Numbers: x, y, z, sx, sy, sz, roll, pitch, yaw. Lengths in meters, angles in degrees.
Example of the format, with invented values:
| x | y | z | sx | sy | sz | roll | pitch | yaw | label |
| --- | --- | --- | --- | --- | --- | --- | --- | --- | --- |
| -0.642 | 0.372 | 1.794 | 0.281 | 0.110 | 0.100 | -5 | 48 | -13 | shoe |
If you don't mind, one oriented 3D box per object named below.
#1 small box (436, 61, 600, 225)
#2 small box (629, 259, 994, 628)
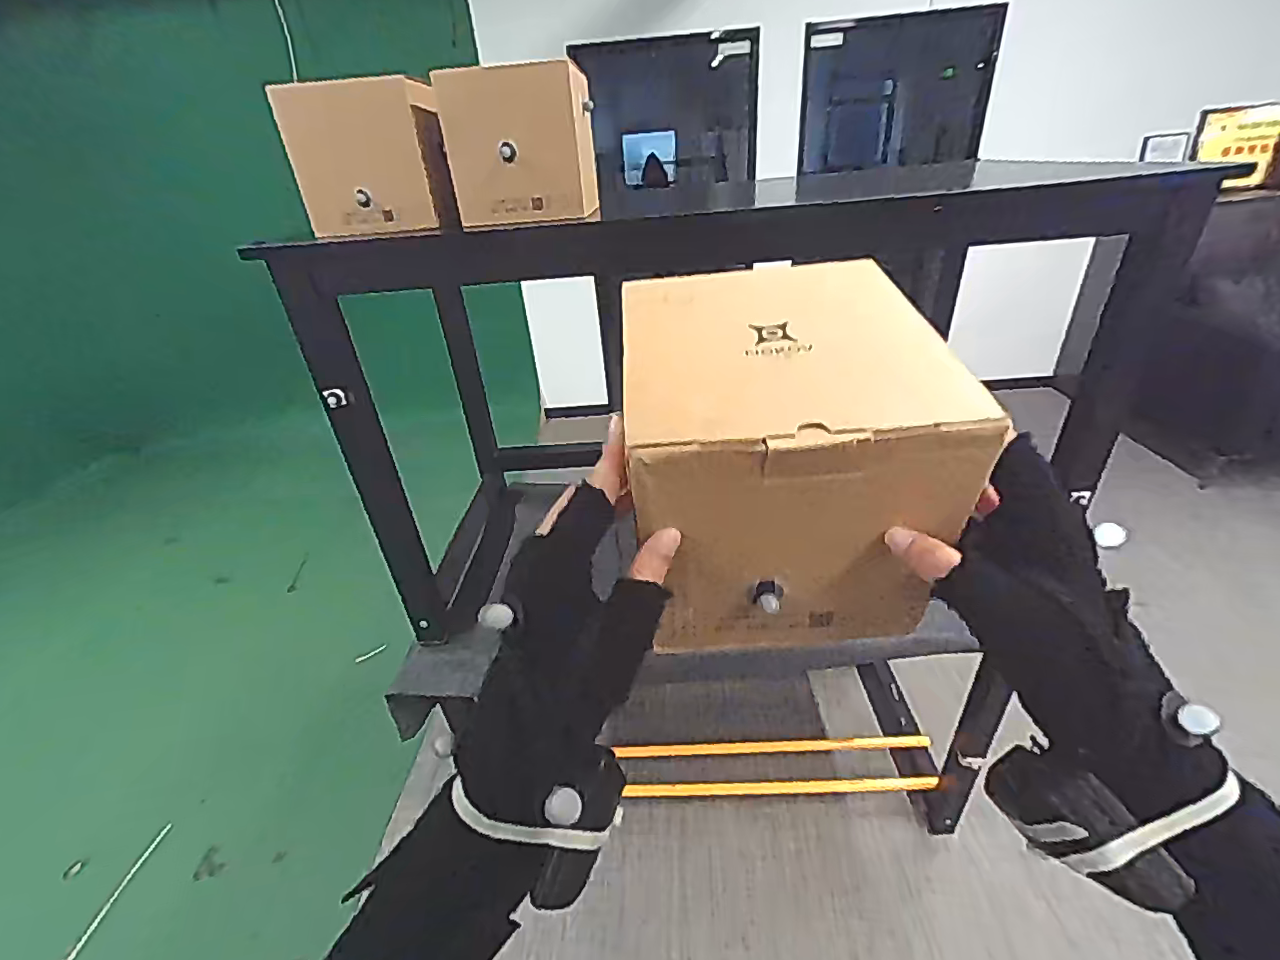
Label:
| x | y | z | sx | sy | sz | roll | pitch | yaw | label |
| --- | --- | --- | --- | --- | --- | --- | --- | --- | --- |
| -0.150 | -0.450 | 0.741 | 0.168 | 0.176 | 0.179 | -2 | 31 | 4 | small box |
| 0.080 | -0.026 | 0.356 | 0.168 | 0.176 | 0.179 | -5 | 43 | 2 | small box |
